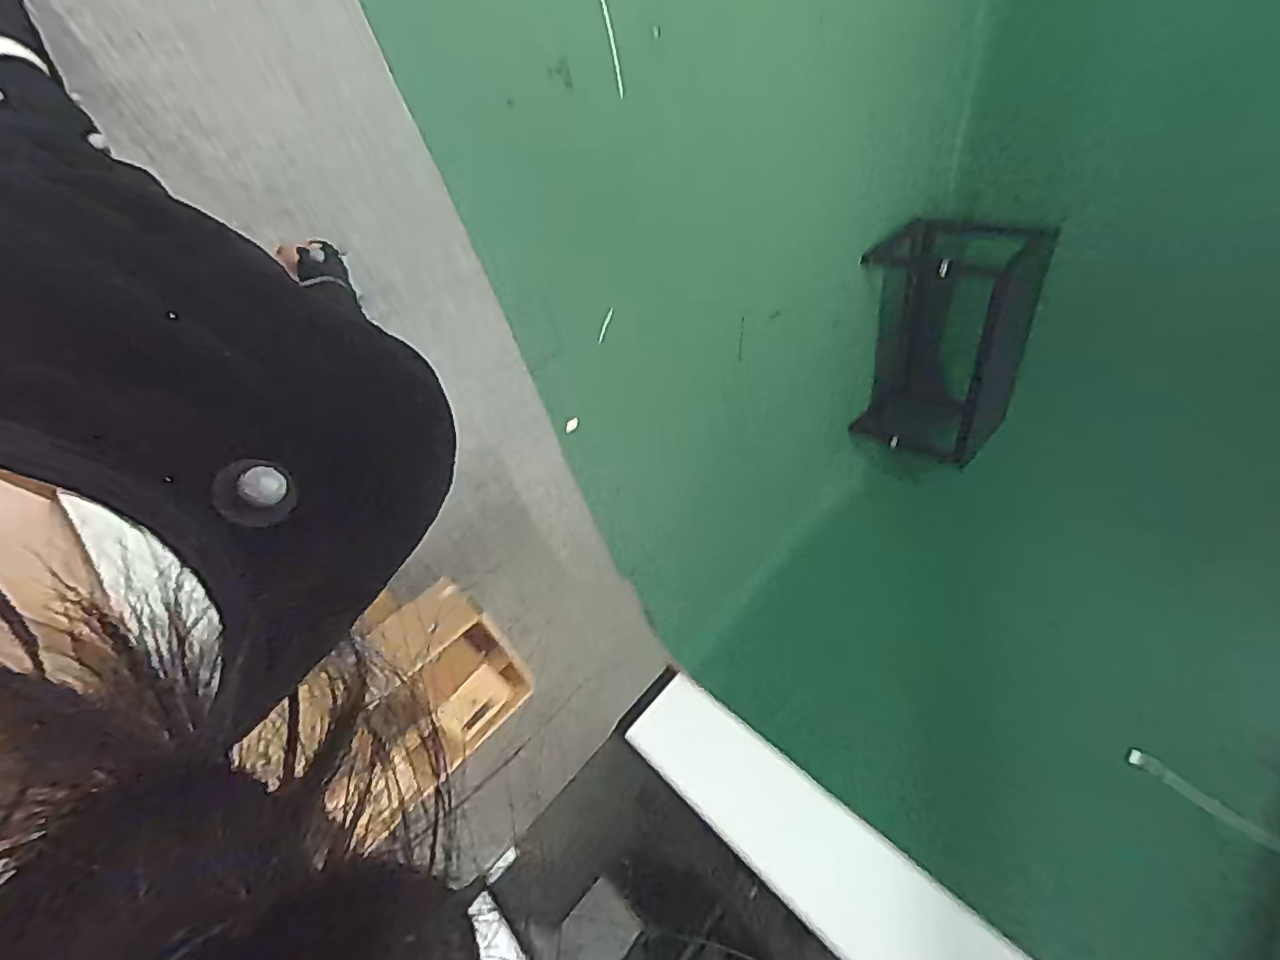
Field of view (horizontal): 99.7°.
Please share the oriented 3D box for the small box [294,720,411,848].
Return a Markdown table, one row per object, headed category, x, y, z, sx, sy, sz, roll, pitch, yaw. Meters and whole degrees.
| category | x | y | z | sx | sy | sz | roll | pitch | yaw |
| --- | --- | --- | --- | --- | --- | --- | --- | --- | --- |
| small box | -0.677 | 0.702 | 1.272 | 0.168 | 0.176 | 0.179 | -32 | 132 | -32 |
